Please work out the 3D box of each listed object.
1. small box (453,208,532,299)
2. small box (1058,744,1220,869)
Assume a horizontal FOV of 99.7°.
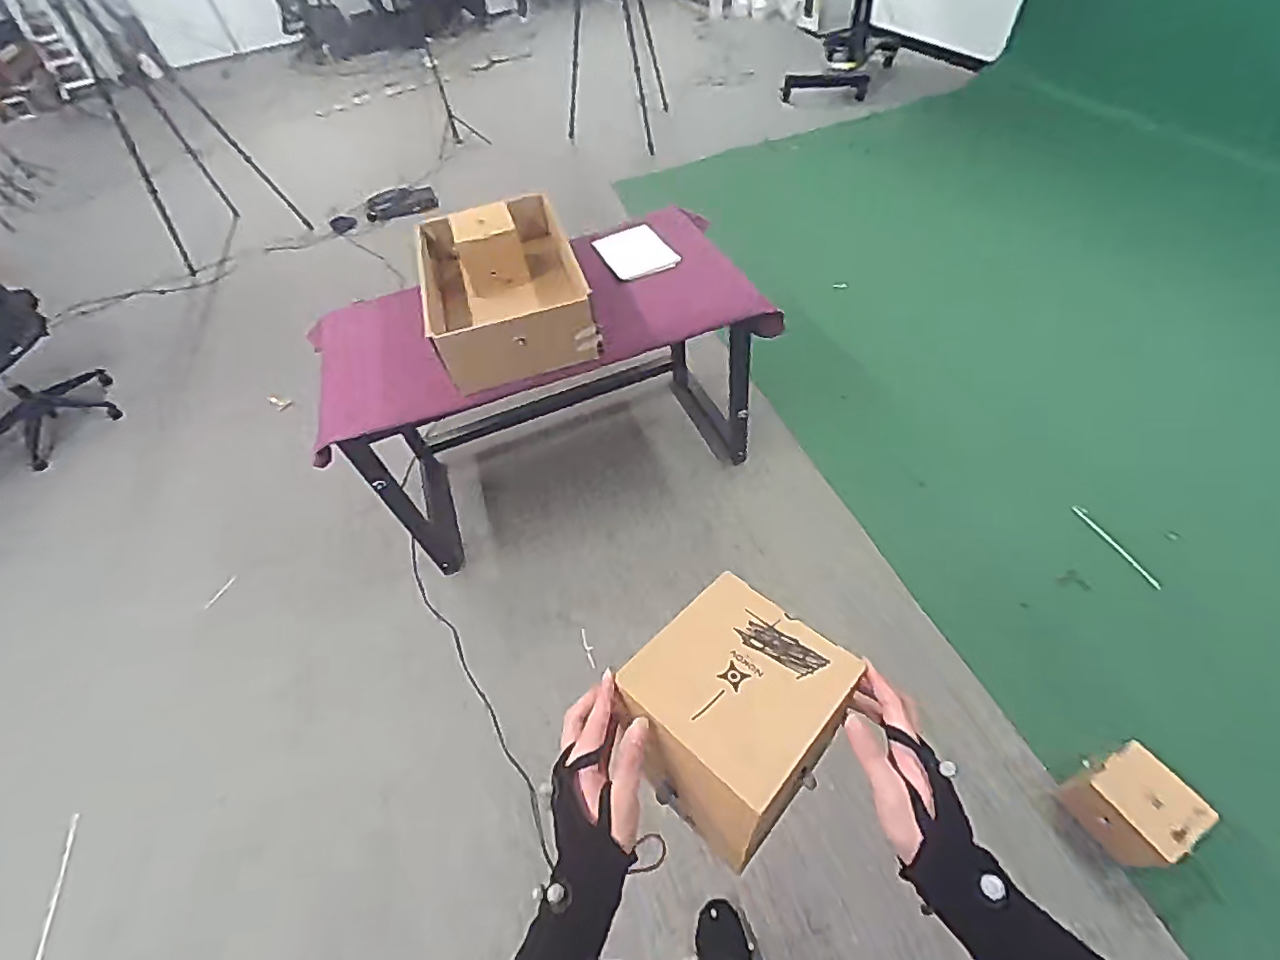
[{"bbox_3d":[-0.426,-0.655,1.569,0.168,0.176,0.179,-19,53,-8],"label":"small box"},{"bbox_3d":[1.105,0.738,1.217,0.168,0.176,0.179,-28,53,-13],"label":"small box"}]
